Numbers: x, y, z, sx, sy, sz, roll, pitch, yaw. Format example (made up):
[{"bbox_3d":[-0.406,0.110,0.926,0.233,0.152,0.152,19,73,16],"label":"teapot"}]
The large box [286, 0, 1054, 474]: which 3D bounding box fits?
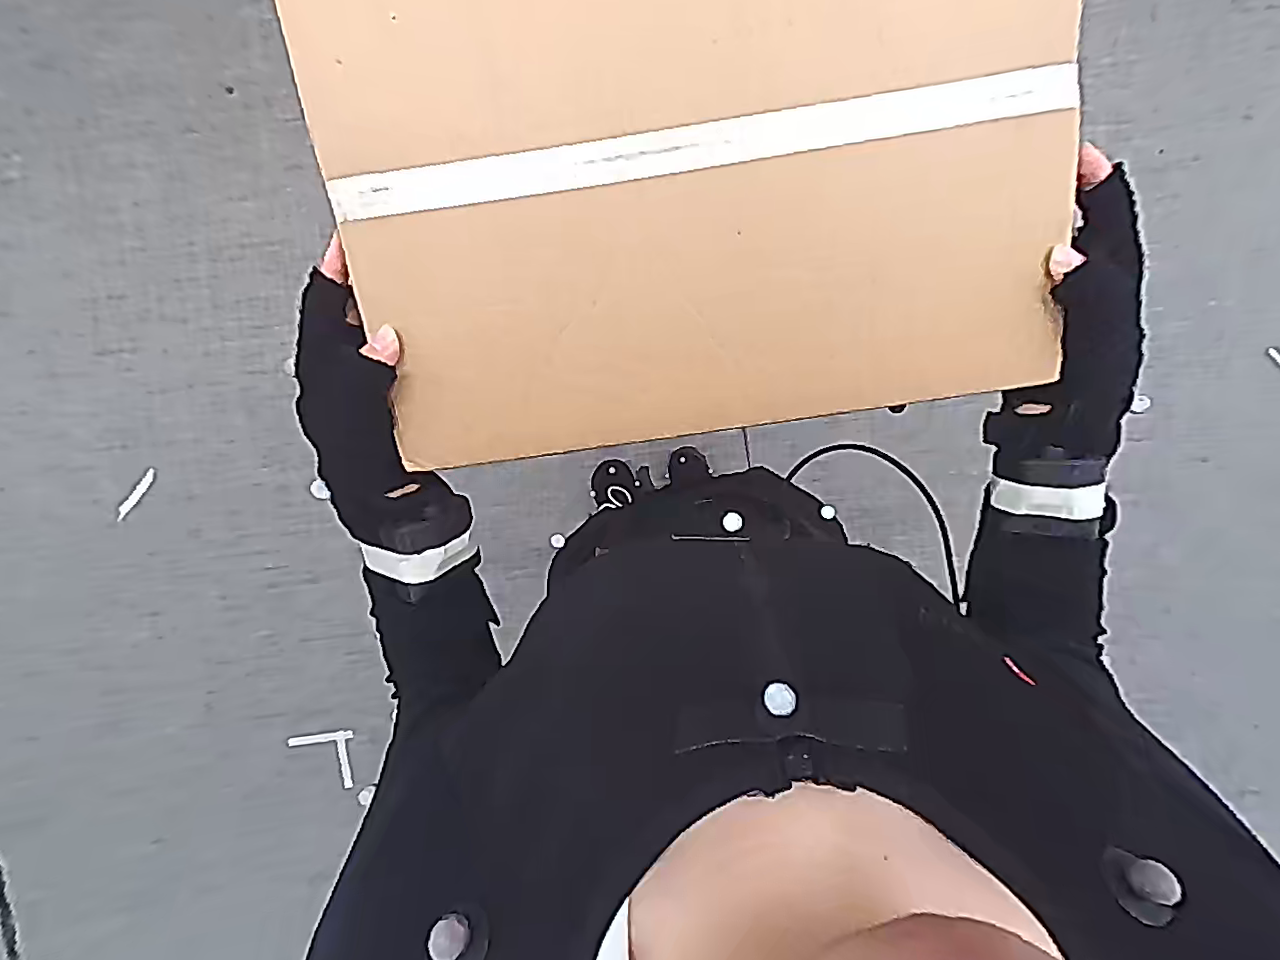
[{"bbox_3d":[0.027,-0.220,0.446,0.408,0.320,0.320,-8,105,1],"label":"large box"}]
